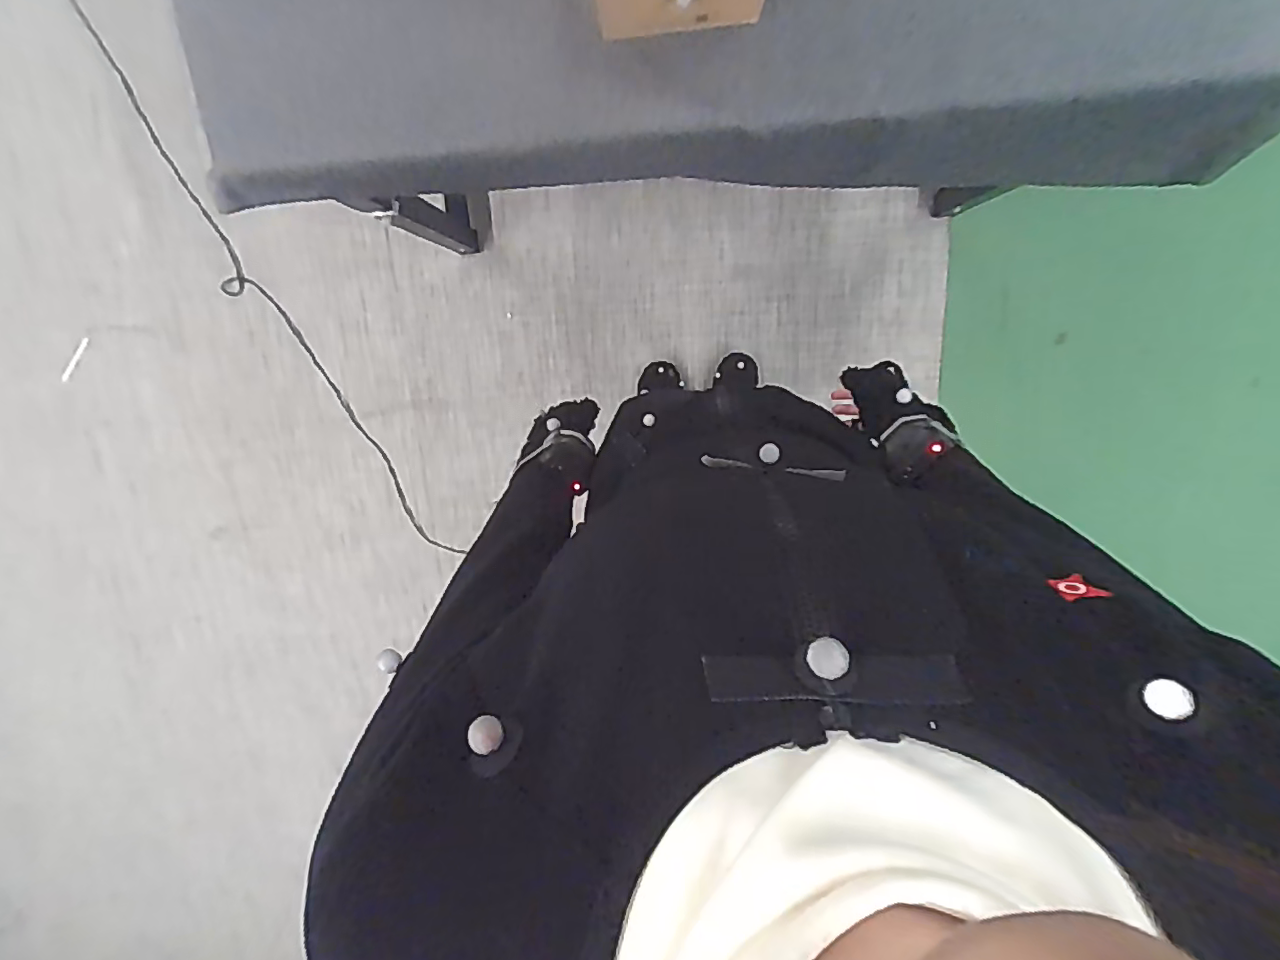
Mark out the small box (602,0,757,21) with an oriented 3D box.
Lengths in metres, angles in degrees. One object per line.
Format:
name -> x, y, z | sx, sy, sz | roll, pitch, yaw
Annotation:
small box -> 0.034, -0.543, 0.471 | 0.168, 0.176, 0.179 | -4, 105, 3
